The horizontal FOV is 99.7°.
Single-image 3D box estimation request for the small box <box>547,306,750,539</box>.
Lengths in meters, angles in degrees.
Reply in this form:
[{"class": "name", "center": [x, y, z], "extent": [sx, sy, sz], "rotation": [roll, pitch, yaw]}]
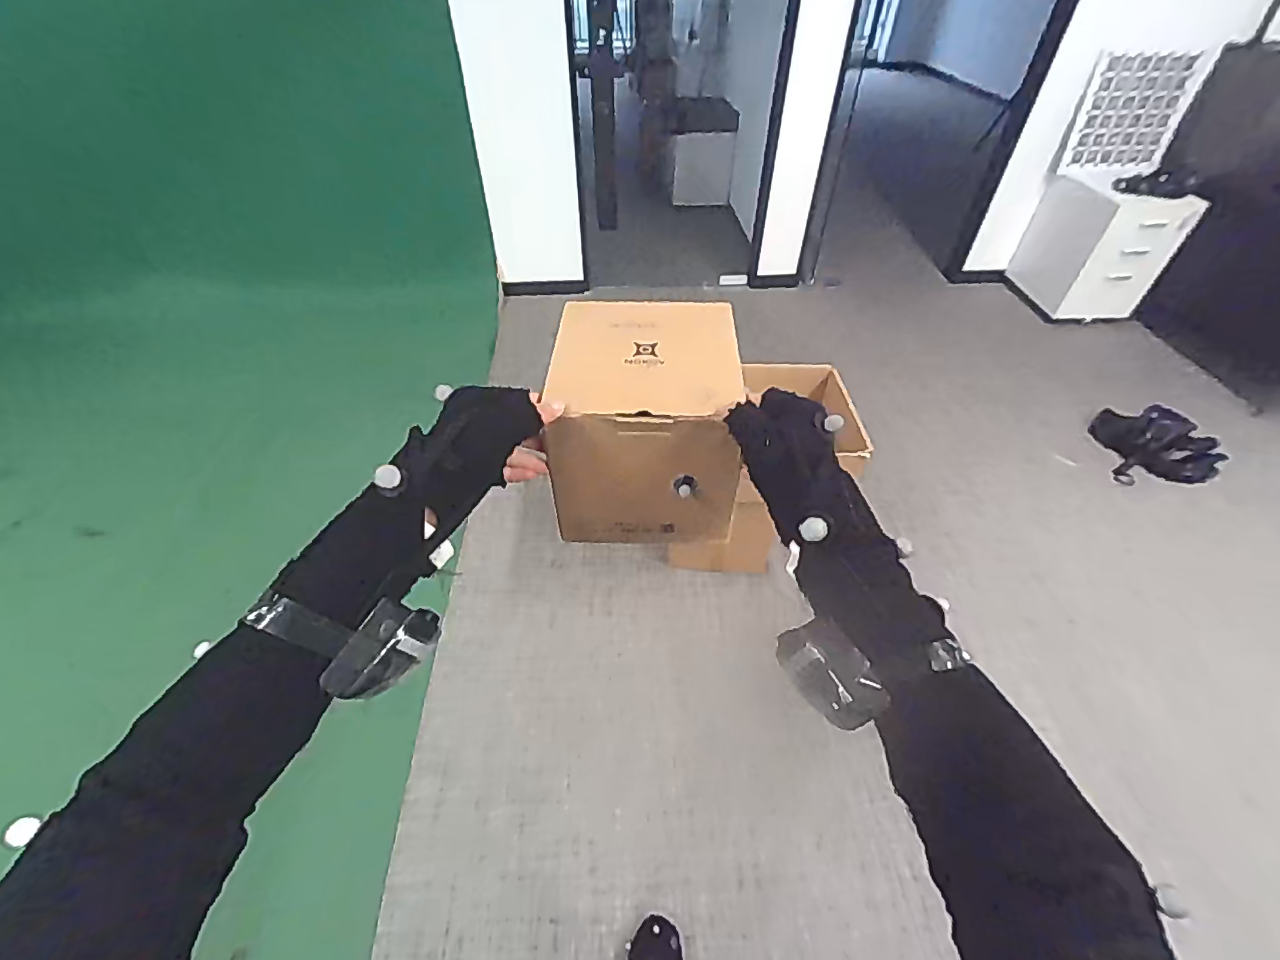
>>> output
[{"class": "small box", "center": [0.011, -0.056, 0.541], "extent": [0.168, 0.176, 0.179], "rotation": [1, 45, 1]}]
